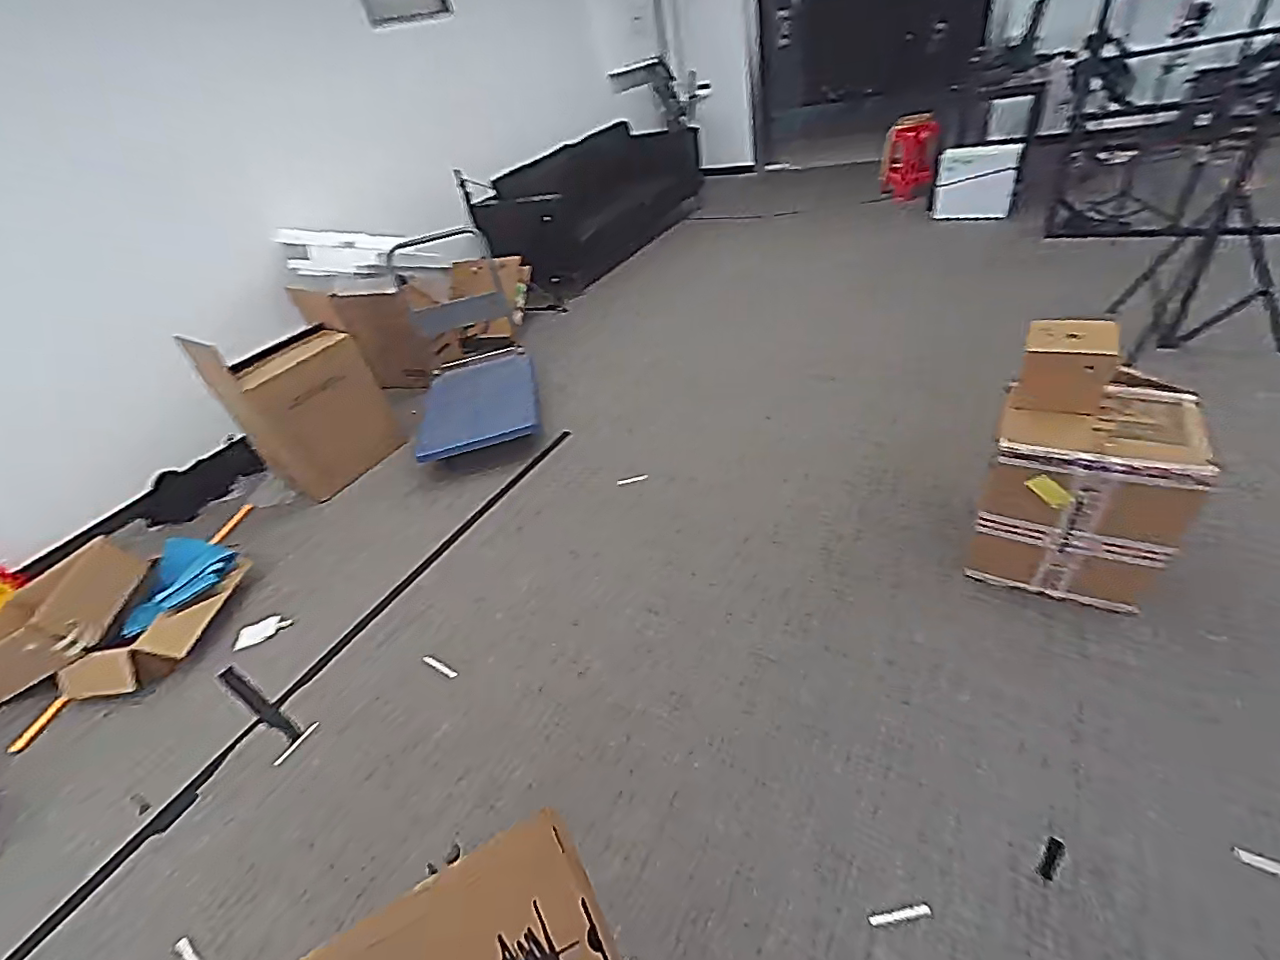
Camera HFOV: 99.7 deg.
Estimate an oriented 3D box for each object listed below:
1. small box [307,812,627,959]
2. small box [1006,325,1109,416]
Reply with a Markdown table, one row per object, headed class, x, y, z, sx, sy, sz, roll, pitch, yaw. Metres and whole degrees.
| class | x | y | z | sx | sy | sz | roll | pitch | yaw |
| --- | --- | --- | --- | --- | --- | --- | --- | --- | --- |
| small box | -0.101 | 0.367 | 0.389 | 0.179 | 0.176 | 0.168 | -24 | 62 | -17 |
| small box | 1.057 | -0.279 | 1.375 | 0.179 | 0.176 | 0.168 | 11 | 45 | 33 |
